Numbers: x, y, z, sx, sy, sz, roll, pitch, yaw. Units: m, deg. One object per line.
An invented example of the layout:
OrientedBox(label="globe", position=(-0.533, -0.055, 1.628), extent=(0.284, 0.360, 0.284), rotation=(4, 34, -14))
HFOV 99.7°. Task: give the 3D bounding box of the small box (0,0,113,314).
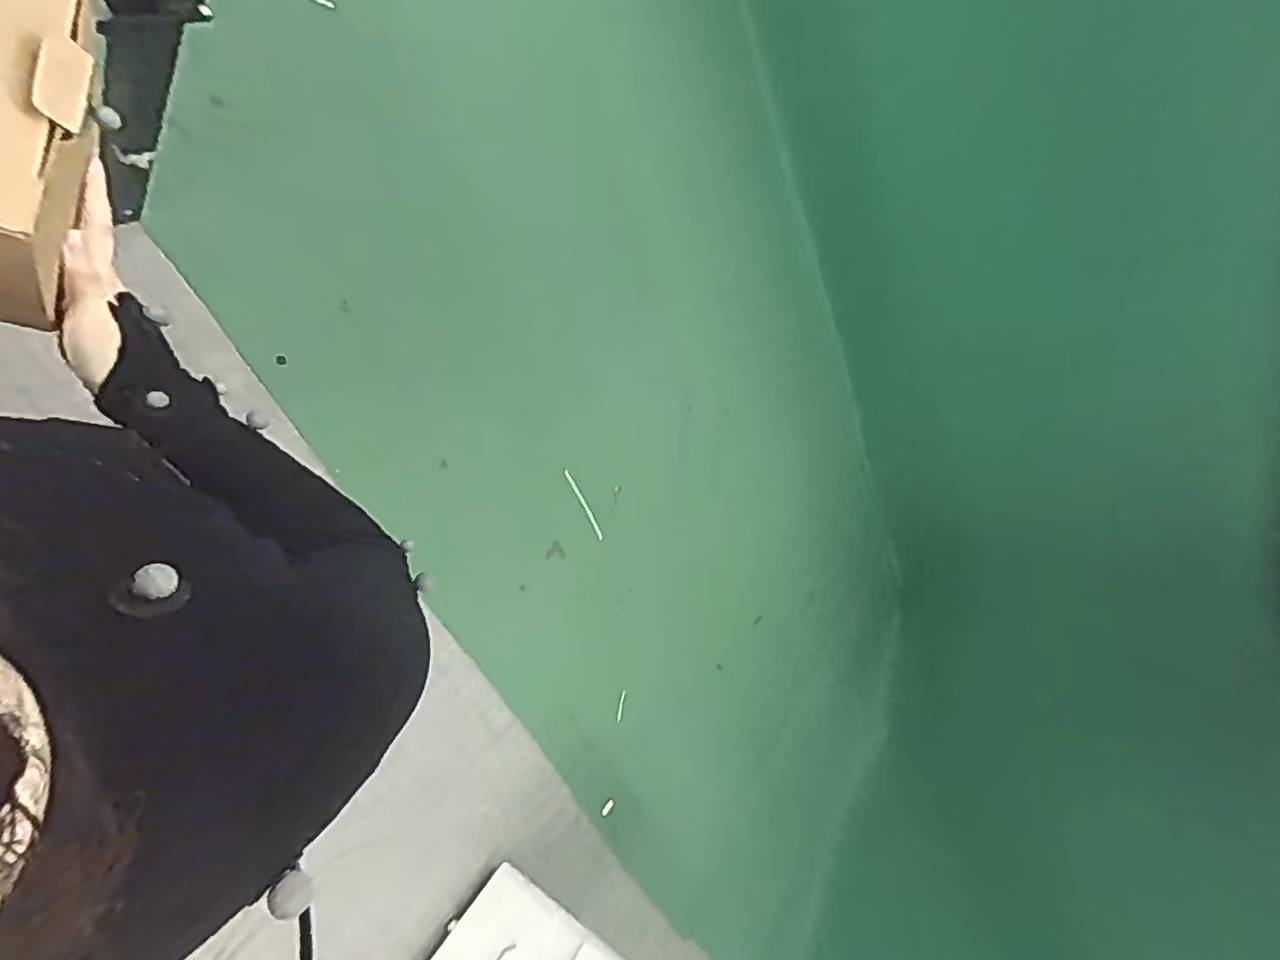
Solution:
OrientedBox(label="small box", position=(-0.397, -0.200, 0.267), extent=(0.179, 0.176, 0.168), rotation=(11, 78, -44))
